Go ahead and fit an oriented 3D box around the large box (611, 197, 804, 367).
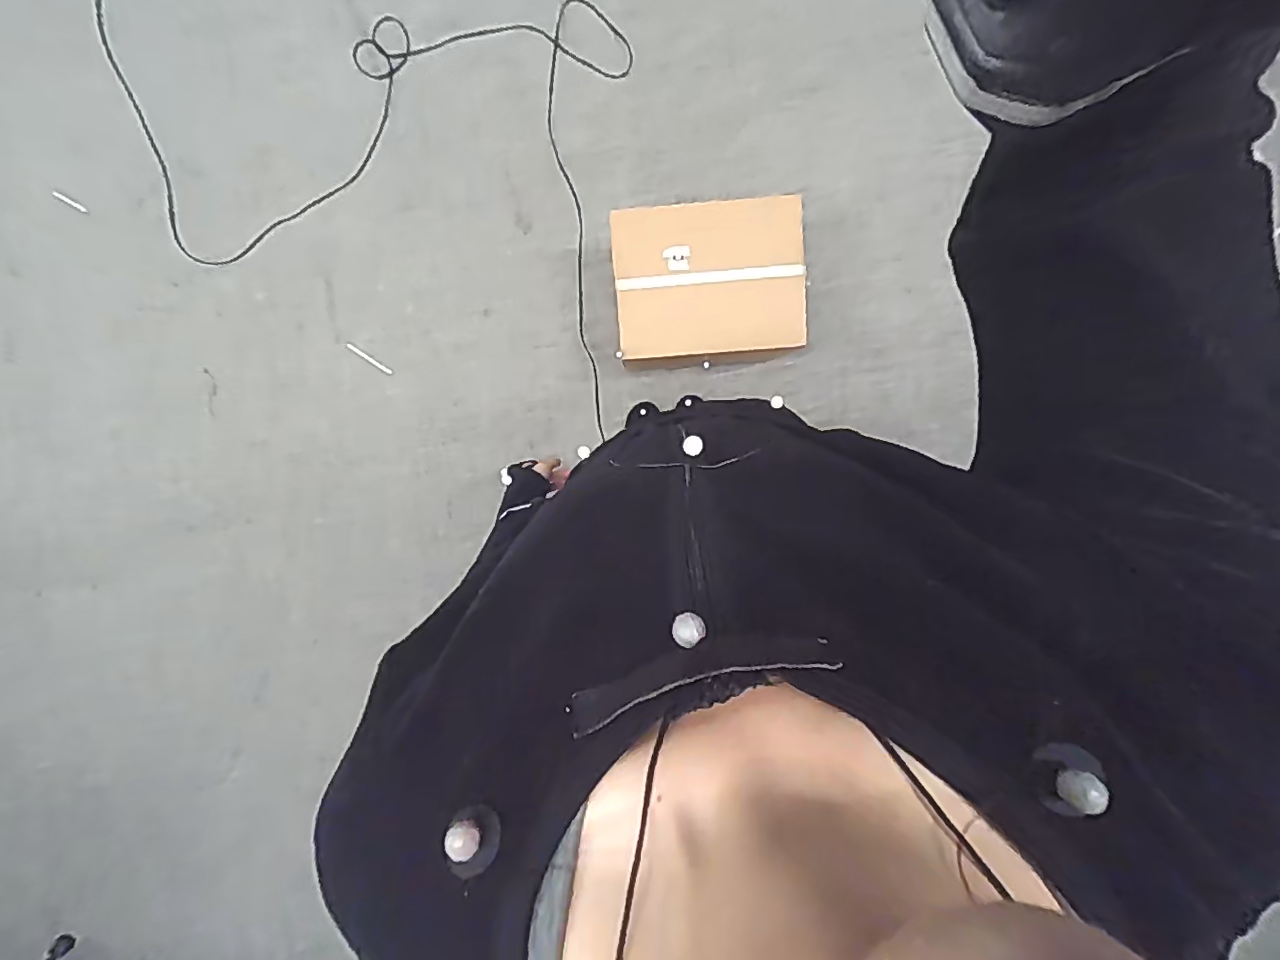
[{"bbox_3d":[0.152,-0.449,1.306,0.408,0.320,0.320,-3,97,2],"label":"large box"}]
